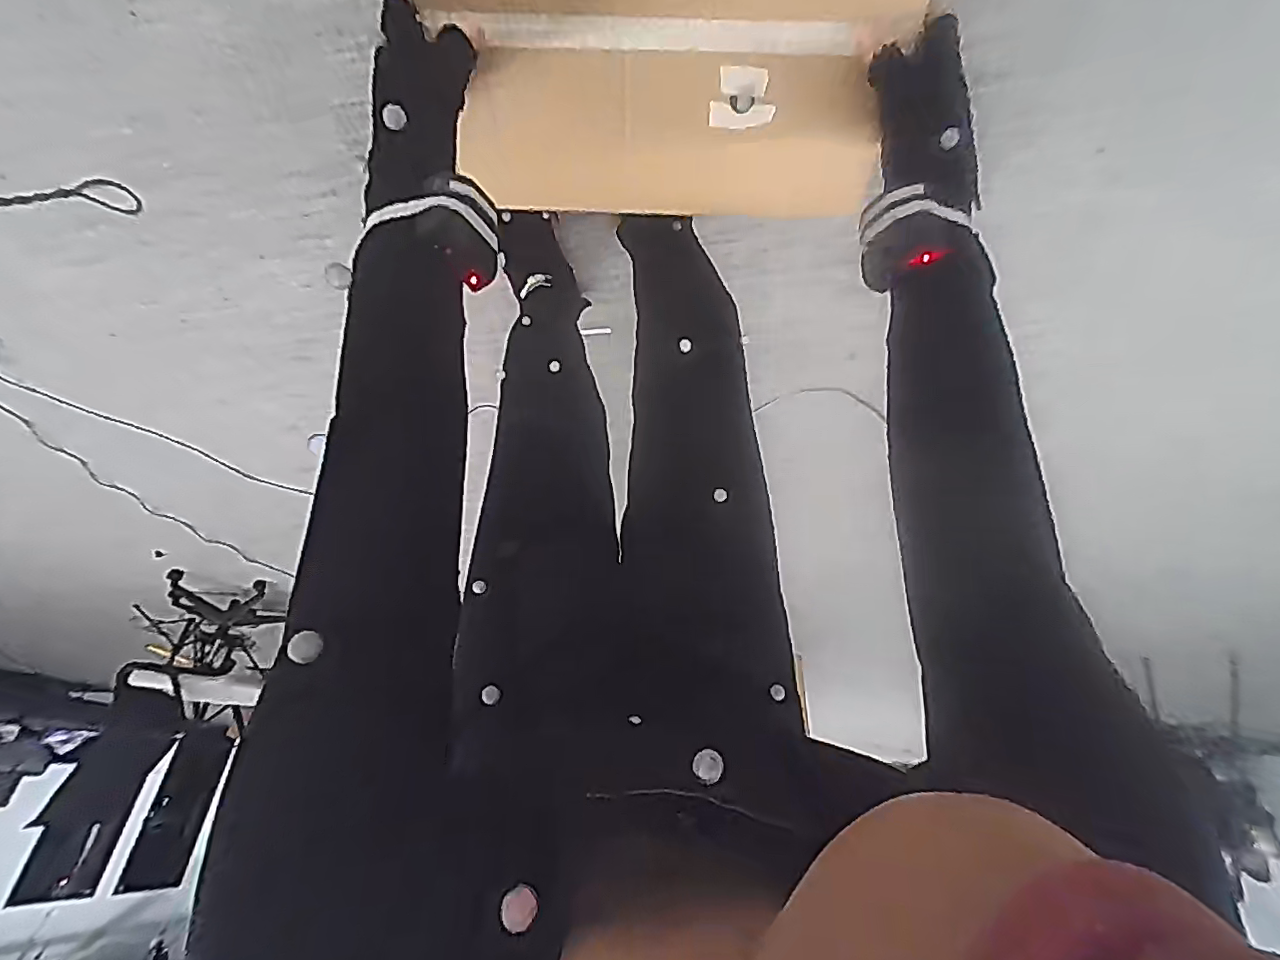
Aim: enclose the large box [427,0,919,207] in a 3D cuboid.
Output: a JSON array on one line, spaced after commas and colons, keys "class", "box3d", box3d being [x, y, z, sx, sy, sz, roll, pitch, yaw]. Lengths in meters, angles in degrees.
[{"class": "large box", "box3d": [0.025, -0.498, 0.529, 0.408, 0.320, 0.320, 1, 146, 0]}]
